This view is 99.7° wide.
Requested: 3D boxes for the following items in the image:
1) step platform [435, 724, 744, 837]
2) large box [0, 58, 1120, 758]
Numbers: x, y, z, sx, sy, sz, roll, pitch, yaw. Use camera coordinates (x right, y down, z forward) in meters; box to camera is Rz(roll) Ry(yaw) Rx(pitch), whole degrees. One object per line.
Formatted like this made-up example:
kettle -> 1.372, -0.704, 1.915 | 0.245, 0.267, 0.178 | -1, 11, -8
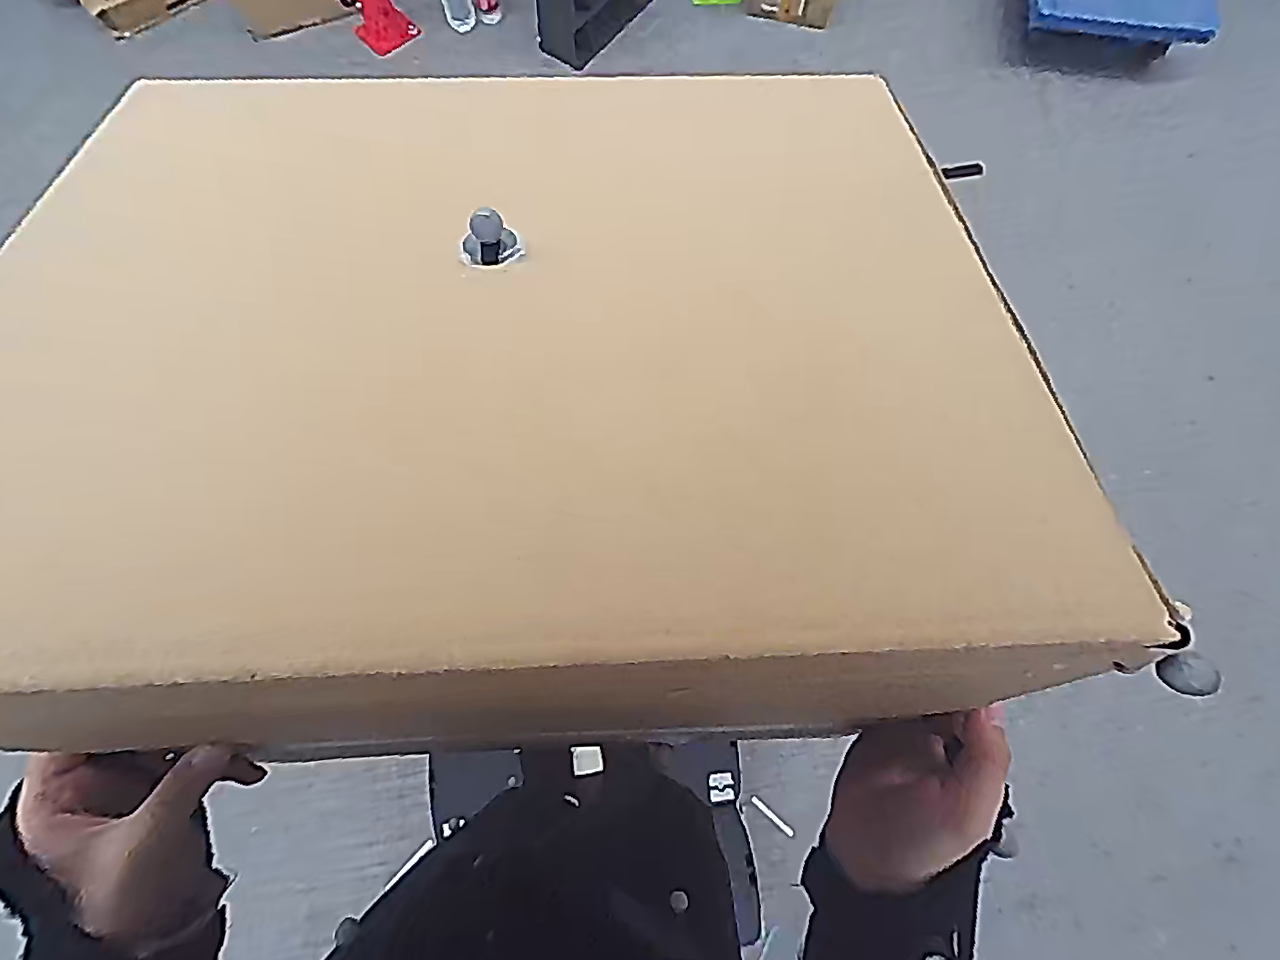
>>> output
step platform -> -0.110, 0.615, 1.242 | 0.684, 0.204, 0.286 | -5, 73, -1
large box -> -0.073, -0.014, 0.347 | 0.408, 0.320, 0.320 | -3, 62, -1
